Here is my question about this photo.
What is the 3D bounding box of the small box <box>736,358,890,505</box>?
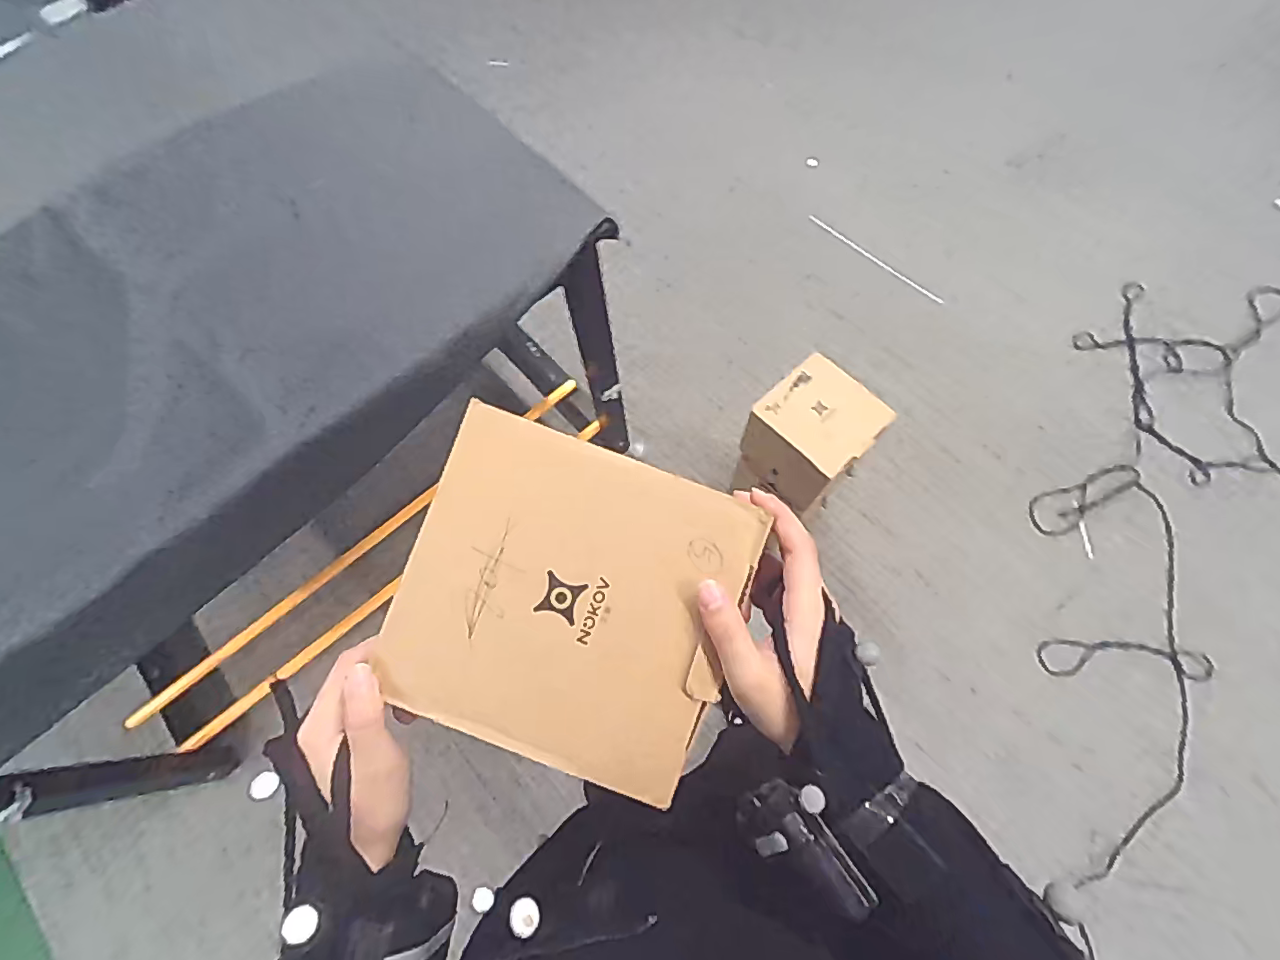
[{"bbox_3d":[0.295,-0.075,0.964,0.168,0.176,0.179,-40,73,-14],"label":"small box"}]

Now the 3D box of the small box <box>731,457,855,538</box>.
[{"bbox_3d":[0.303,-0.007,1.114,0.179,0.176,0.168,-42,72,-14],"label":"small box"}]

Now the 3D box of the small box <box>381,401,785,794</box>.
[{"bbox_3d":[-0.029,0.066,0.369,0.179,0.176,0.168,20,85,2],"label":"small box"}]
